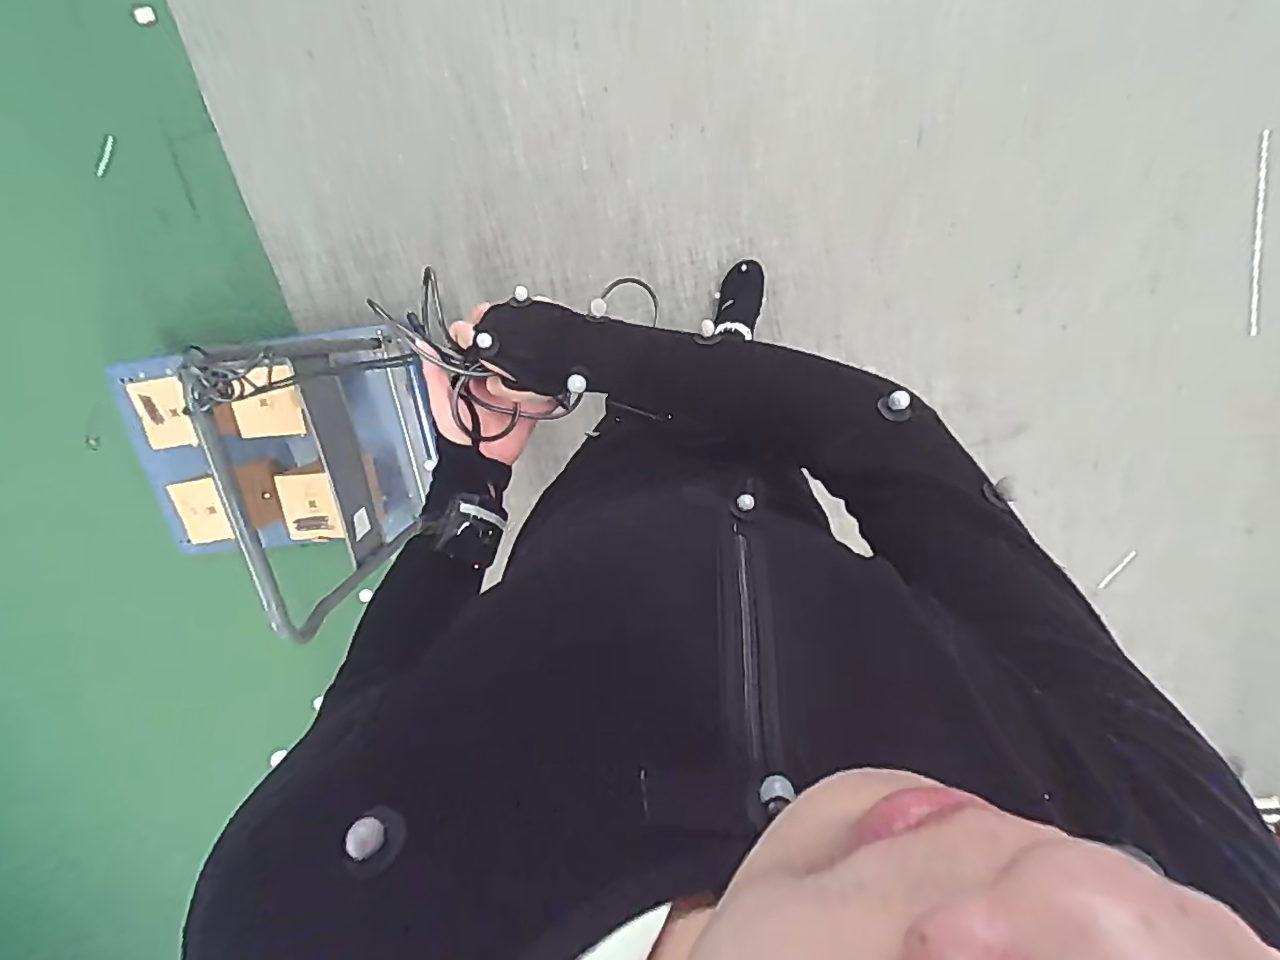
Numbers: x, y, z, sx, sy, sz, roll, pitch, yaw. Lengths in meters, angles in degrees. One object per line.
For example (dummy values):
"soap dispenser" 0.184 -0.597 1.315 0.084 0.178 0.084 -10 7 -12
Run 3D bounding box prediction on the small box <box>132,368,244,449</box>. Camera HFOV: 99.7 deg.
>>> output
"small box" -1.126 -0.188 1.394 0.179 0.176 0.168 -8 107 6

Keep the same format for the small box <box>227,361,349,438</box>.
"small box" -0.881 -0.208 1.371 0.179 0.176 0.168 -4 107 5

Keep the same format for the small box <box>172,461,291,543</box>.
"small box" -1.091 0.055 1.468 0.179 0.176 0.168 -9 105 7
